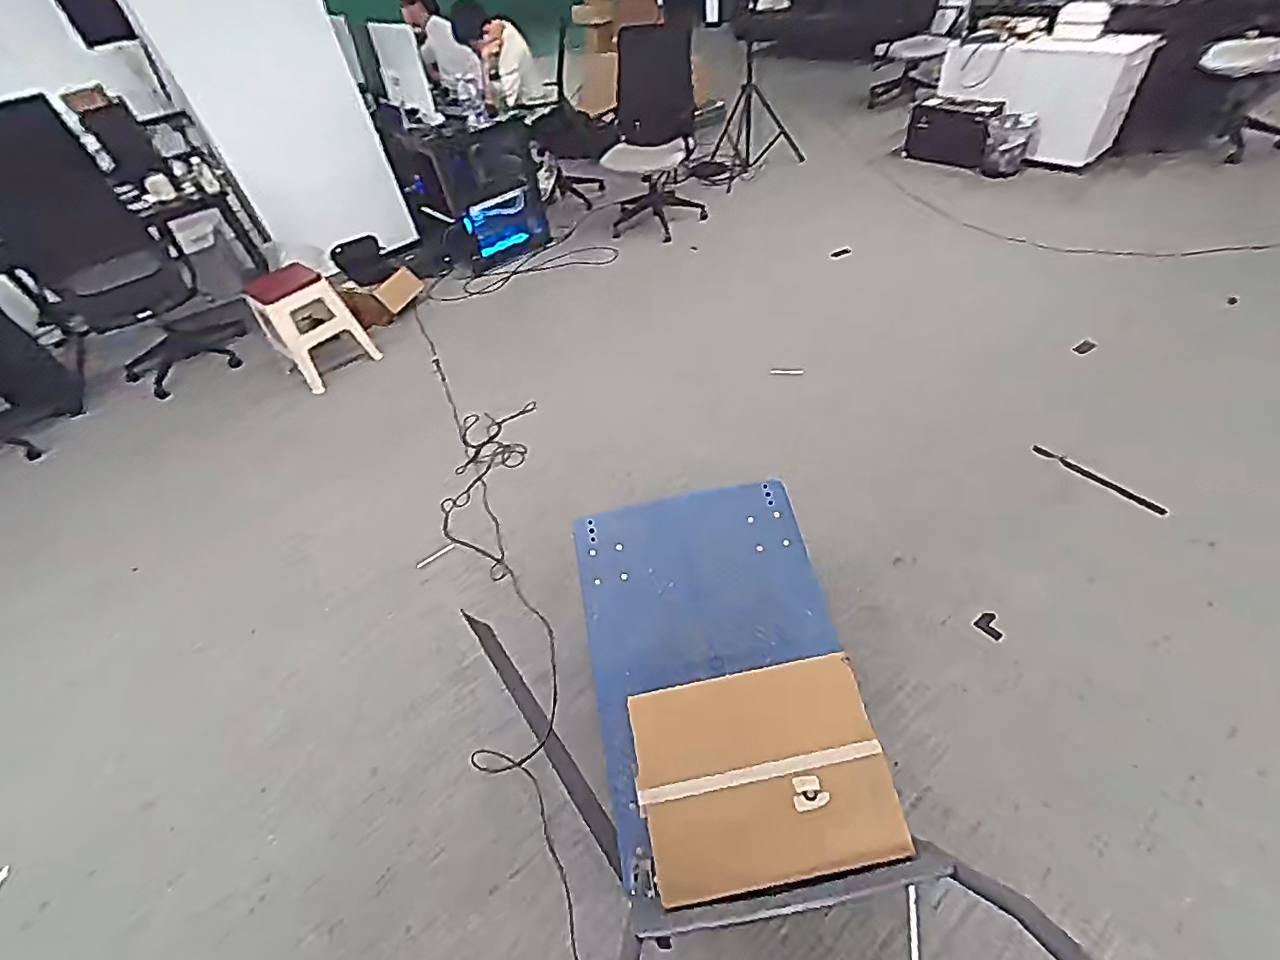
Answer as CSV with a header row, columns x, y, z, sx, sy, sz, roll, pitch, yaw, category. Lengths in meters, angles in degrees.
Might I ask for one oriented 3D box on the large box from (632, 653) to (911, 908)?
x,y,z,sx,sy,sz,roll,pitch,yaw,category
0.217,0.558,1.048,0.408,0.320,0.320,-12,64,-2,large box
